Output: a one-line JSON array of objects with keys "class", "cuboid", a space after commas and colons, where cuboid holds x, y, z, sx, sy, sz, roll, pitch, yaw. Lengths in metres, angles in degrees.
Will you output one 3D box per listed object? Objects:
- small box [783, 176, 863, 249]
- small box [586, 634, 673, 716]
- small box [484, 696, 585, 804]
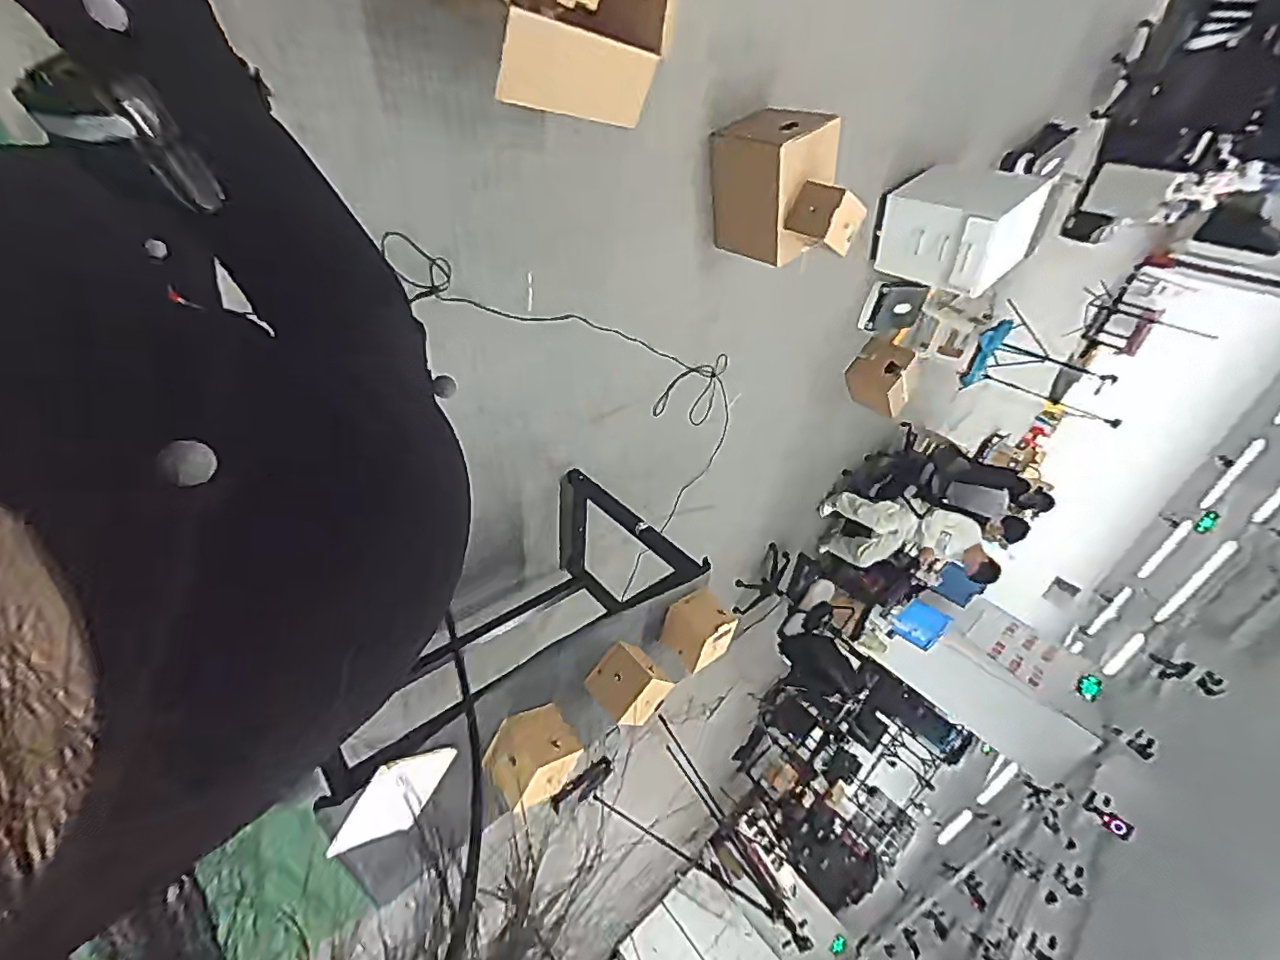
[{"class": "small box", "cuboid": [0.627, -0.925, 1.863, 0.179, 0.176, 0.168, 1, 119, -48]}, {"class": "small box", "cuboid": [-0.034, 0.595, 1.655, 0.168, 0.176, 0.179, -50, 146, -3]}, {"class": "small box", "cuboid": [-0.290, 0.719, 1.461, 0.179, 0.176, 0.168, 9, 113, -54]}]
